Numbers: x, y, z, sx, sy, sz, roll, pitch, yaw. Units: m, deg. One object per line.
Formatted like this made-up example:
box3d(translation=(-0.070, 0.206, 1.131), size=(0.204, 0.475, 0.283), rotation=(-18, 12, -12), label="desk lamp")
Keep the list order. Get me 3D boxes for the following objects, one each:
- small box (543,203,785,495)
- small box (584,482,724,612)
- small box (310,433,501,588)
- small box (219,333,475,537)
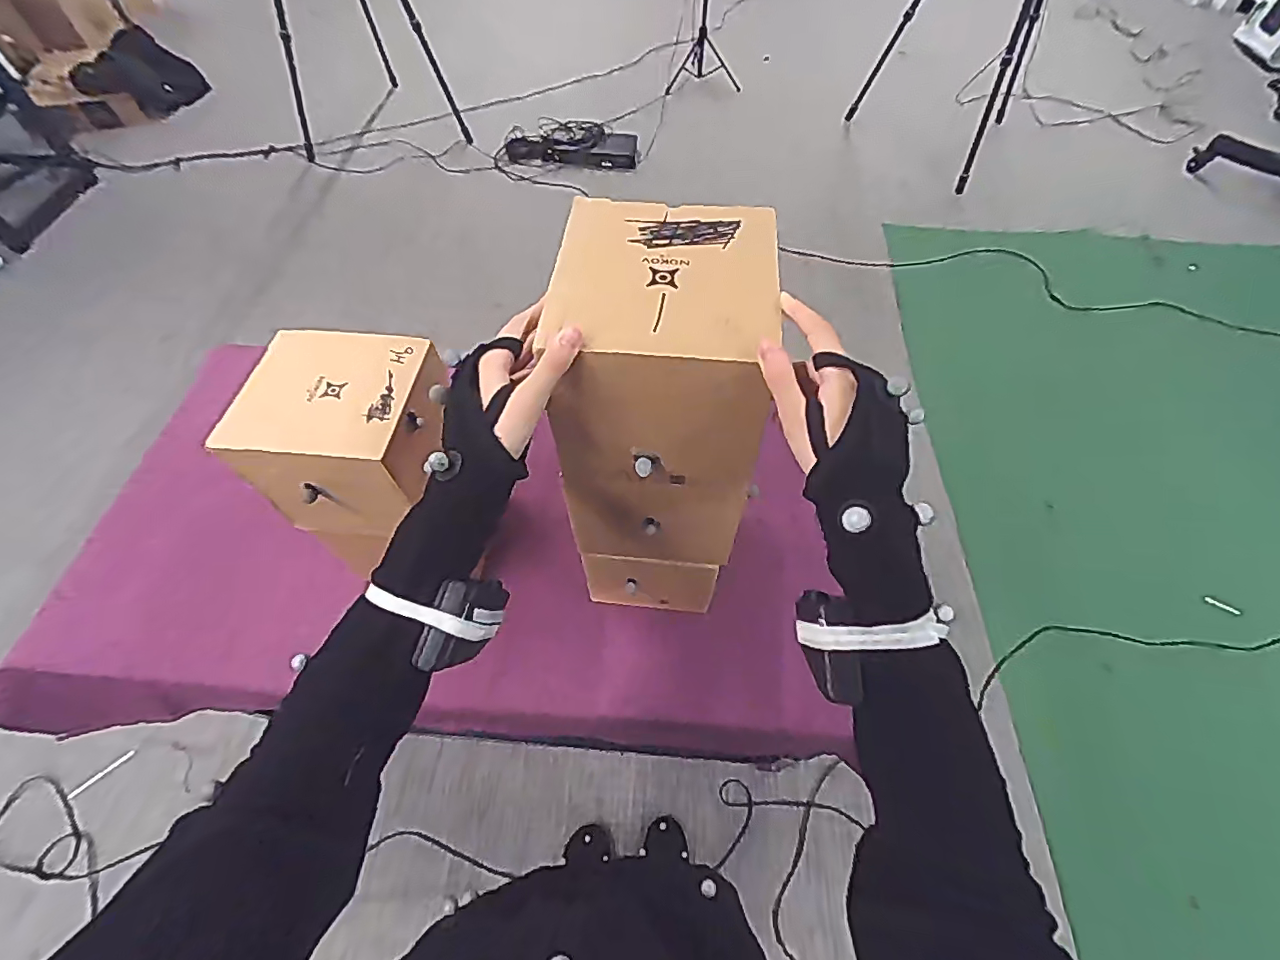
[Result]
box3d(translation=(0.023, -0.109, 0.469), size=(0.168, 0.176, 0.179), rotation=(4, 57, 3), label="small box")
box3d(translation=(0.025, 0.068, 0.746), size=(0.168, 0.176, 0.179), rotation=(5, 56, 4), label="small box")
box3d(translation=(-0.309, 0.042, 0.762), size=(0.179, 0.176, 0.168), rotation=(4, 56, 3), label="small box")
box3d(translation=(-0.313, -0.046, 0.624), size=(0.179, 0.176, 0.168), rotation=(5, 57, 2), label="small box")
